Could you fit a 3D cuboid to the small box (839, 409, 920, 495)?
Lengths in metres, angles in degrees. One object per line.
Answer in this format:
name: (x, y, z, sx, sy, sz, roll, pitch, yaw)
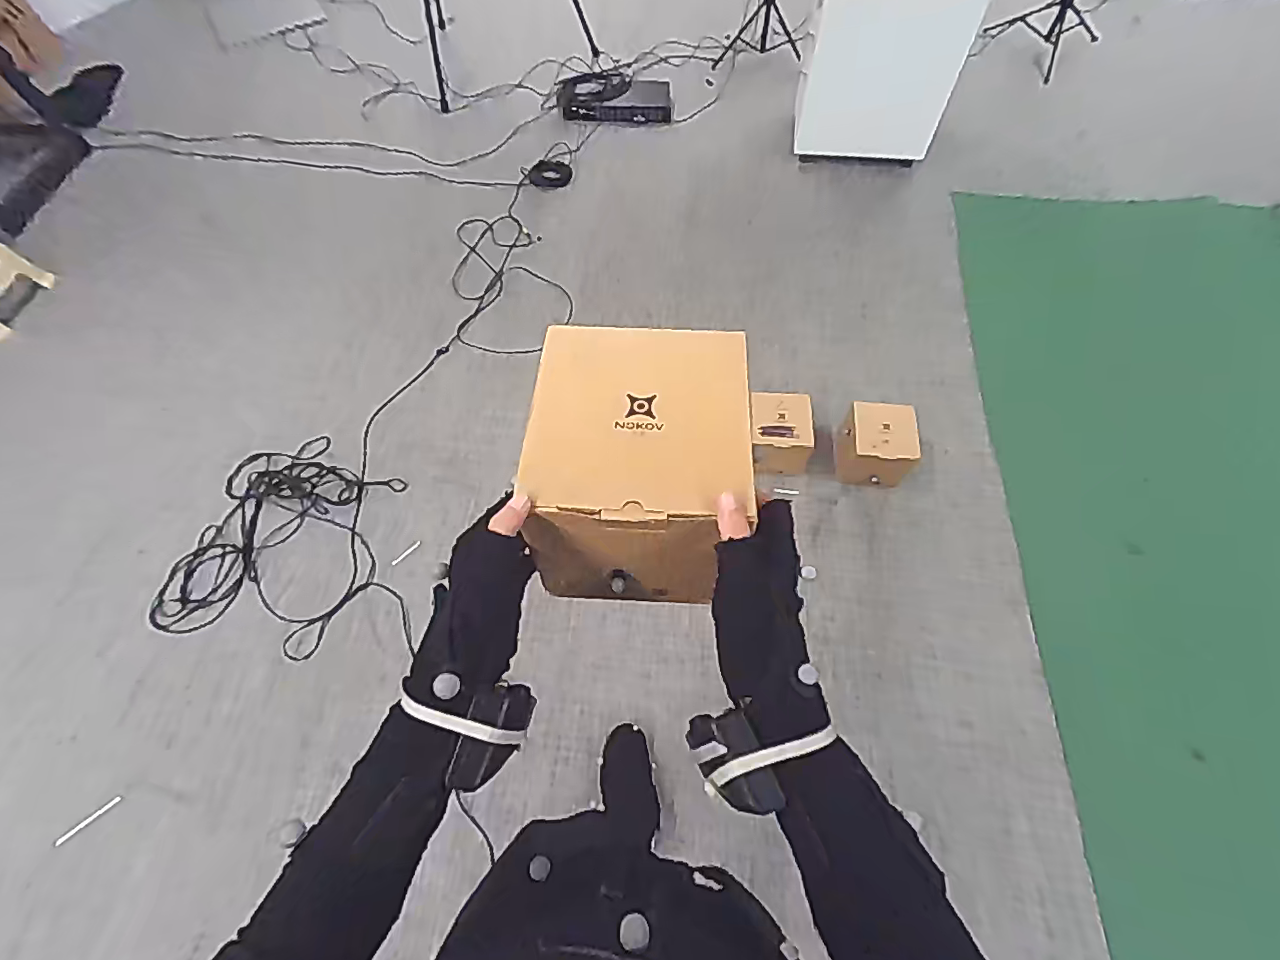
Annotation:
small box: (0.671, -0.078, 1.535, 0.168, 0.176, 0.179, 5, 63, 6)
